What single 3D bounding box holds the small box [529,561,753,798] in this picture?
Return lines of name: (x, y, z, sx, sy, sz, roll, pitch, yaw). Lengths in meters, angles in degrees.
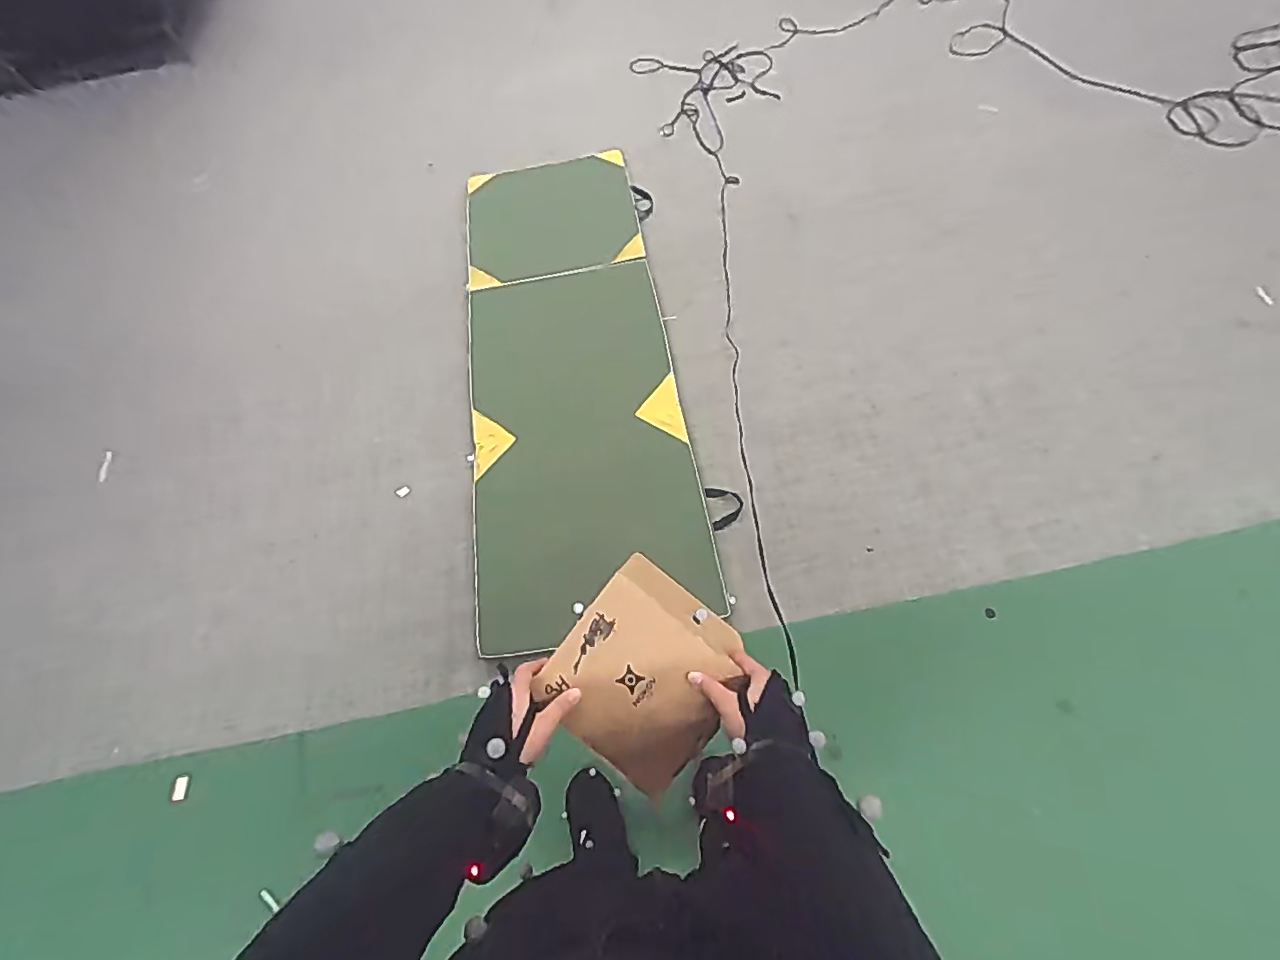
small box: (0.007, 0.211, 0.633, 0.179, 0.176, 0.168, 38, 92, 5)
